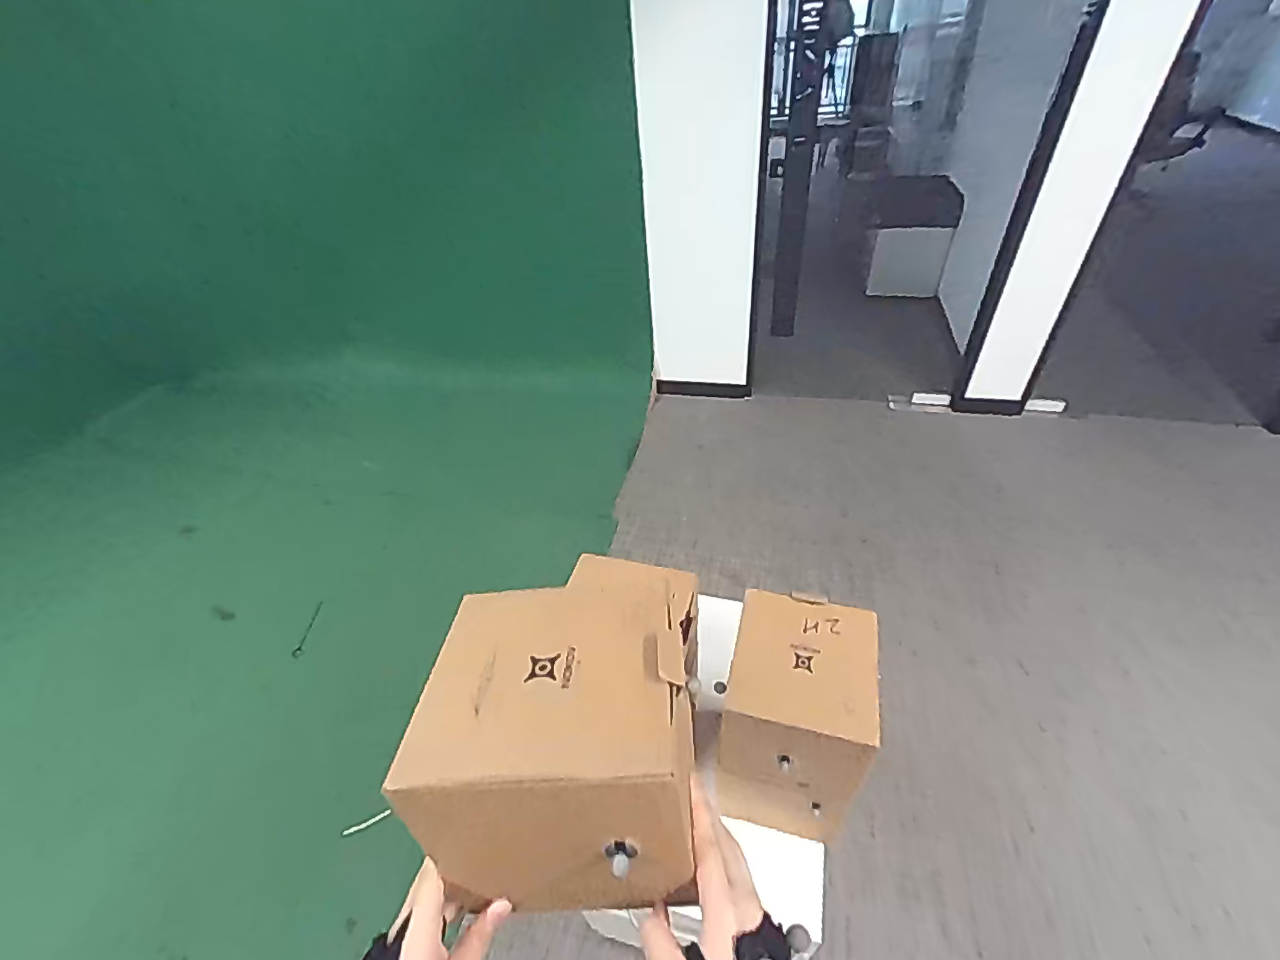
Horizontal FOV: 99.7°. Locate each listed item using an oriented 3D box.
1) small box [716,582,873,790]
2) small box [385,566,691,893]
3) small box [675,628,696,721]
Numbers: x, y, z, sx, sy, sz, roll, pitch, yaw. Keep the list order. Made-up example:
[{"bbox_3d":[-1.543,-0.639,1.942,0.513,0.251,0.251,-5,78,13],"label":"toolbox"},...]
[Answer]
[{"bbox_3d":[0.195,0.264,0.694,0.168,0.176,0.179,9,43,15],"label":"small box"},{"bbox_3d":[-0.053,0.190,0.421,0.179,0.176,0.168,-7,31,6],"label":"small box"},{"bbox_3d":[-0.011,0.344,0.874,0.179,0.176,0.168,8,44,13],"label":"small box"}]
